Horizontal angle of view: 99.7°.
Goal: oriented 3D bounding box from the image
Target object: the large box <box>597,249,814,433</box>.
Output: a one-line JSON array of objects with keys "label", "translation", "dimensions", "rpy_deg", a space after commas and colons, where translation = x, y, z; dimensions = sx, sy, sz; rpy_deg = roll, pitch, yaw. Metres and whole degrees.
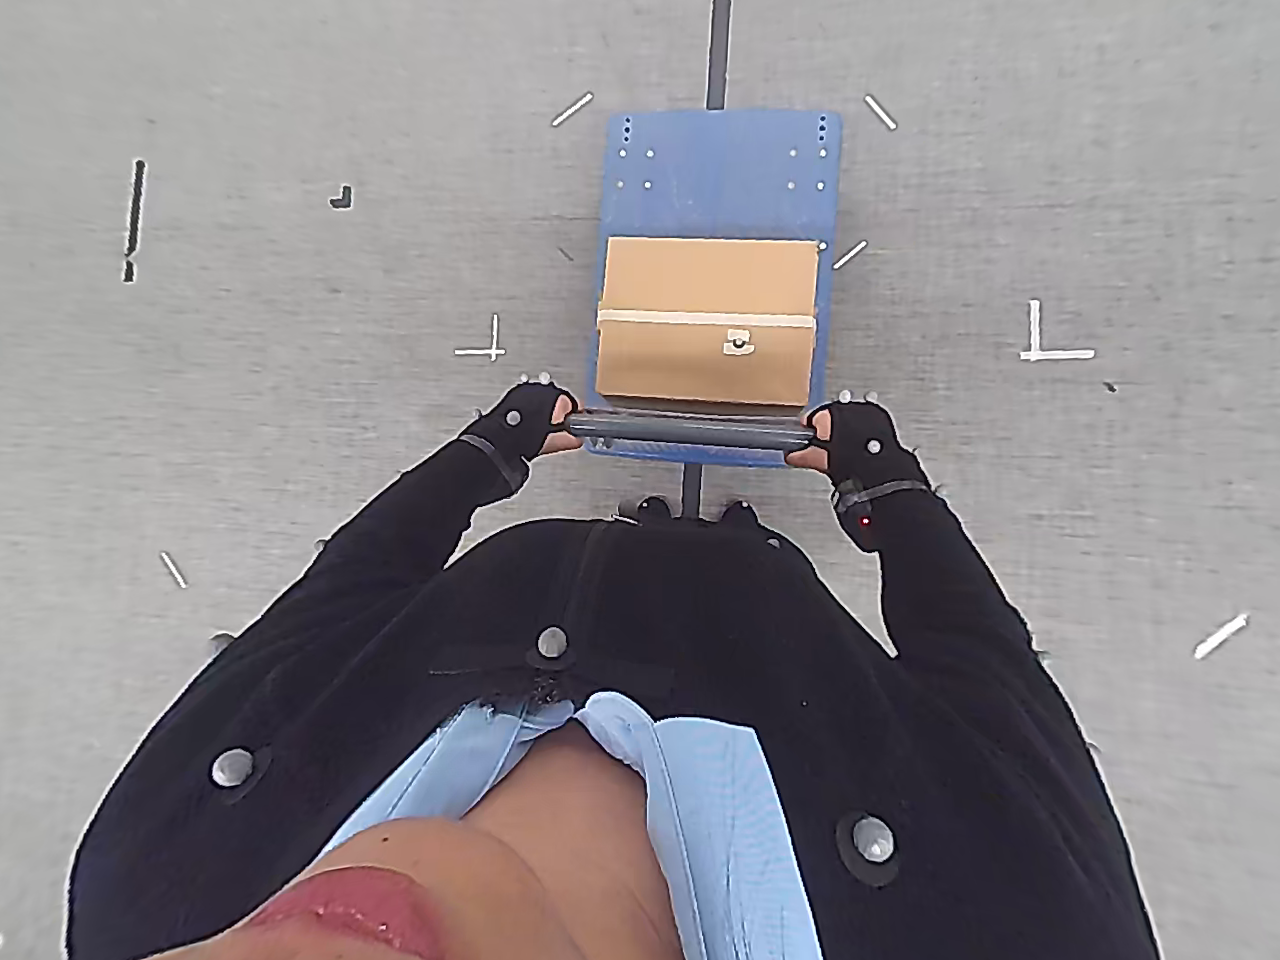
[{"label": "large box", "translation": [0.136, -0.280, 1.176], "dimensions": [0.408, 0.320, 0.320], "rpy_deg": [4, 89, 7]}]
